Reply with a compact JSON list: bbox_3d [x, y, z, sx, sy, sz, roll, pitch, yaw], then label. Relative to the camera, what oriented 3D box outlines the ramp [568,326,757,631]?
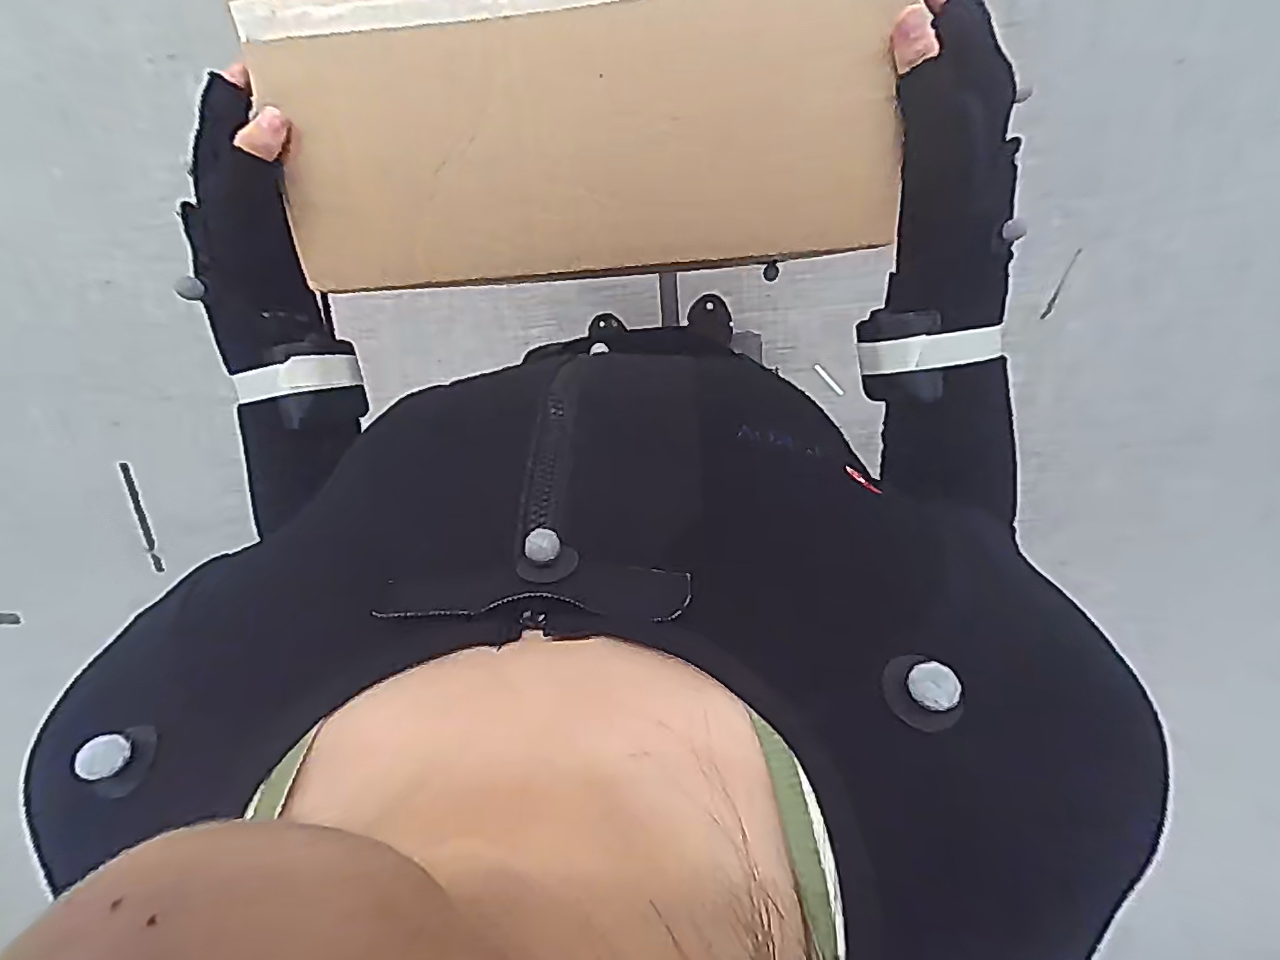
[{"bbox_3d":[0.104,0.063,1.628,0.509,0.206,0.991,-6,107,4],"label":"ramp"}]

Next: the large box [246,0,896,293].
[{"bbox_3d":[-0.039,-0.346,0.467,0.408,0.320,0.320,-4,110,2],"label":"large box"}]
